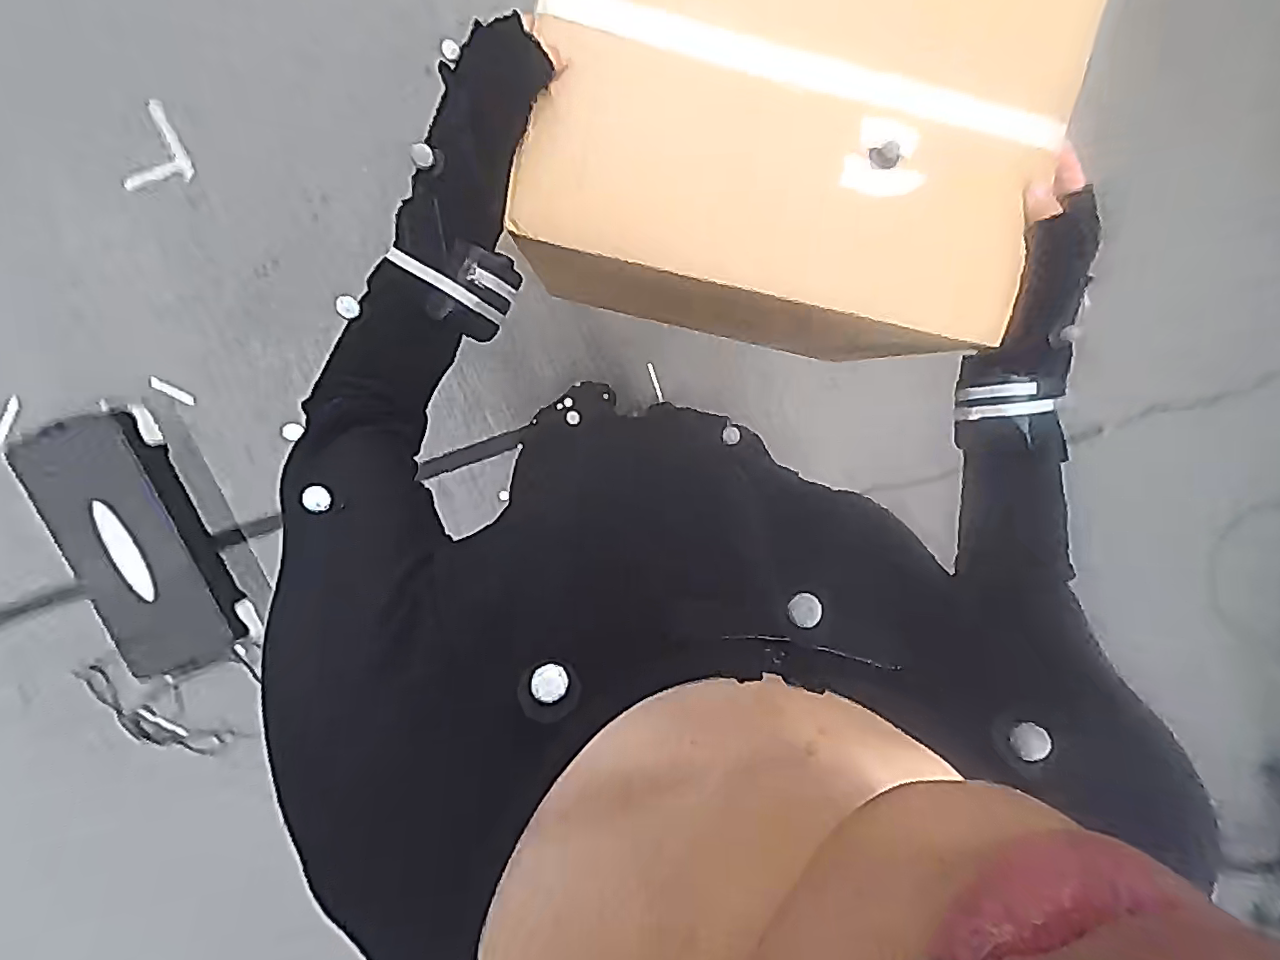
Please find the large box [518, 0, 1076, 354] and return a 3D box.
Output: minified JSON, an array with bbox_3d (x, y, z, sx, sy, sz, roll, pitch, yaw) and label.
[{"bbox_3d":[0.112,-0.328,0.560,0.408,0.320,0.320,10,99,-6],"label":"large box"}]
